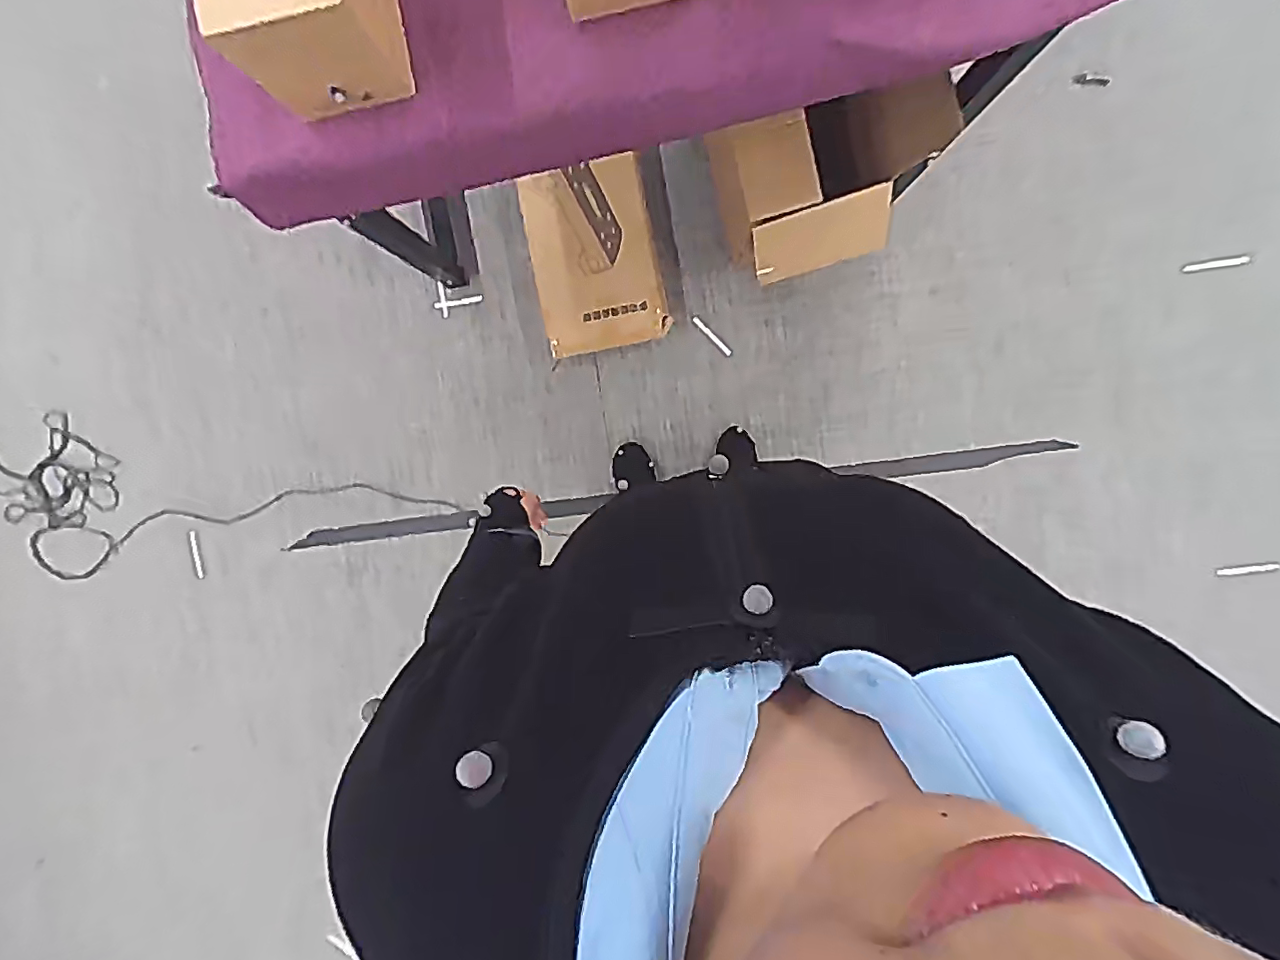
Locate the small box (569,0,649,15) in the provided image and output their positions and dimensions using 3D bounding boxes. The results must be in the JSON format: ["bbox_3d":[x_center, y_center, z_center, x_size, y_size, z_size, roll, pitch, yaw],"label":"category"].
[{"bbox_3d":[-0.019,-0.686,0.609,0.179,0.176,0.168,-10,93,4],"label":"small box"}]
